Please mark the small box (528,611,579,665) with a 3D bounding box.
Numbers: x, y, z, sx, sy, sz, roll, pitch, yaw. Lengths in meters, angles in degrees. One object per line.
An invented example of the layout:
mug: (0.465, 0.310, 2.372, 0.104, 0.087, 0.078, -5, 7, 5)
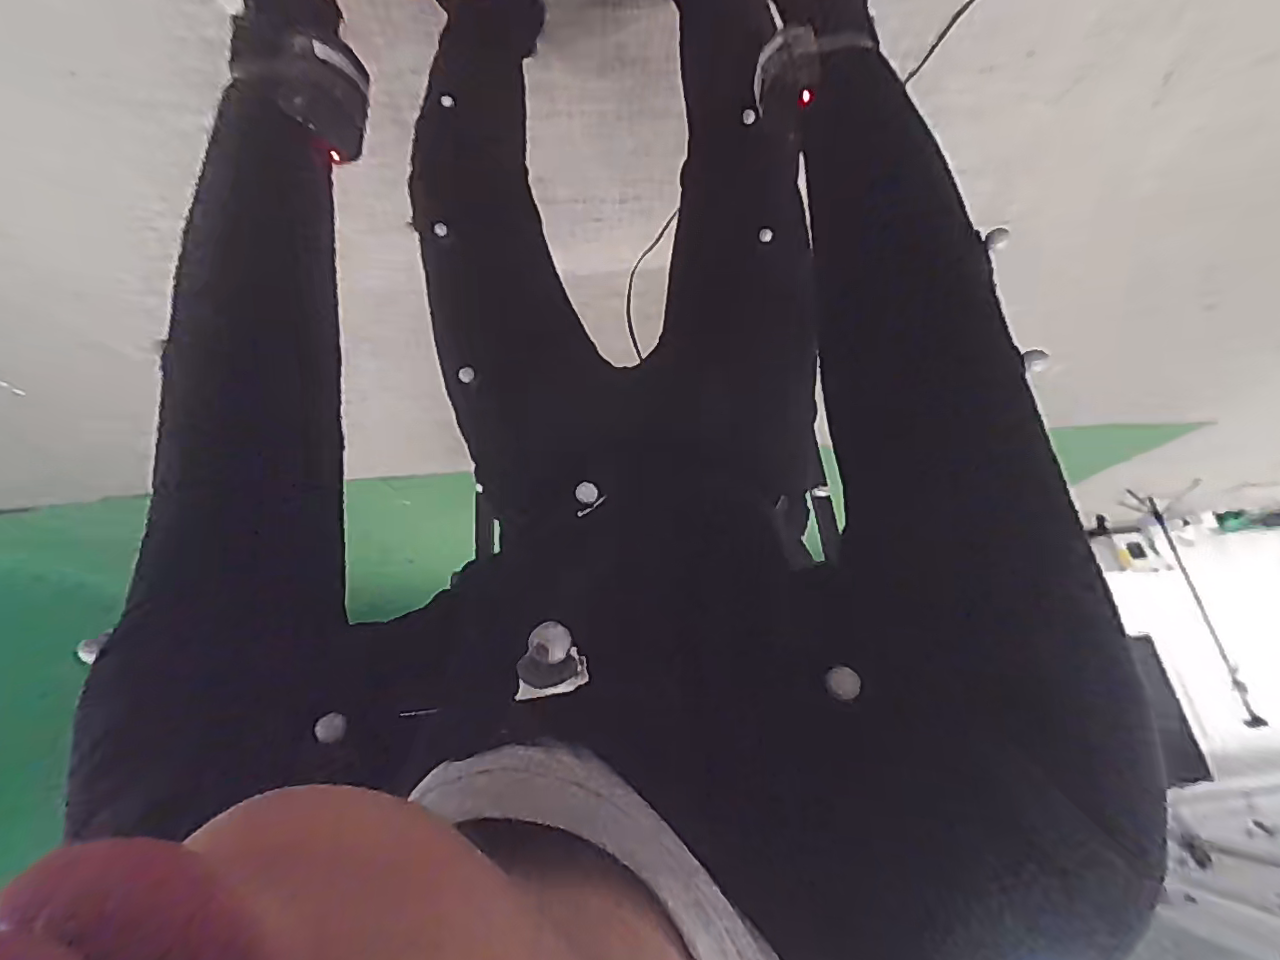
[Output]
small box: (-0.312, 0.571, 1.961, 0.168, 0.176, 0.179, -4, 161, -5)
